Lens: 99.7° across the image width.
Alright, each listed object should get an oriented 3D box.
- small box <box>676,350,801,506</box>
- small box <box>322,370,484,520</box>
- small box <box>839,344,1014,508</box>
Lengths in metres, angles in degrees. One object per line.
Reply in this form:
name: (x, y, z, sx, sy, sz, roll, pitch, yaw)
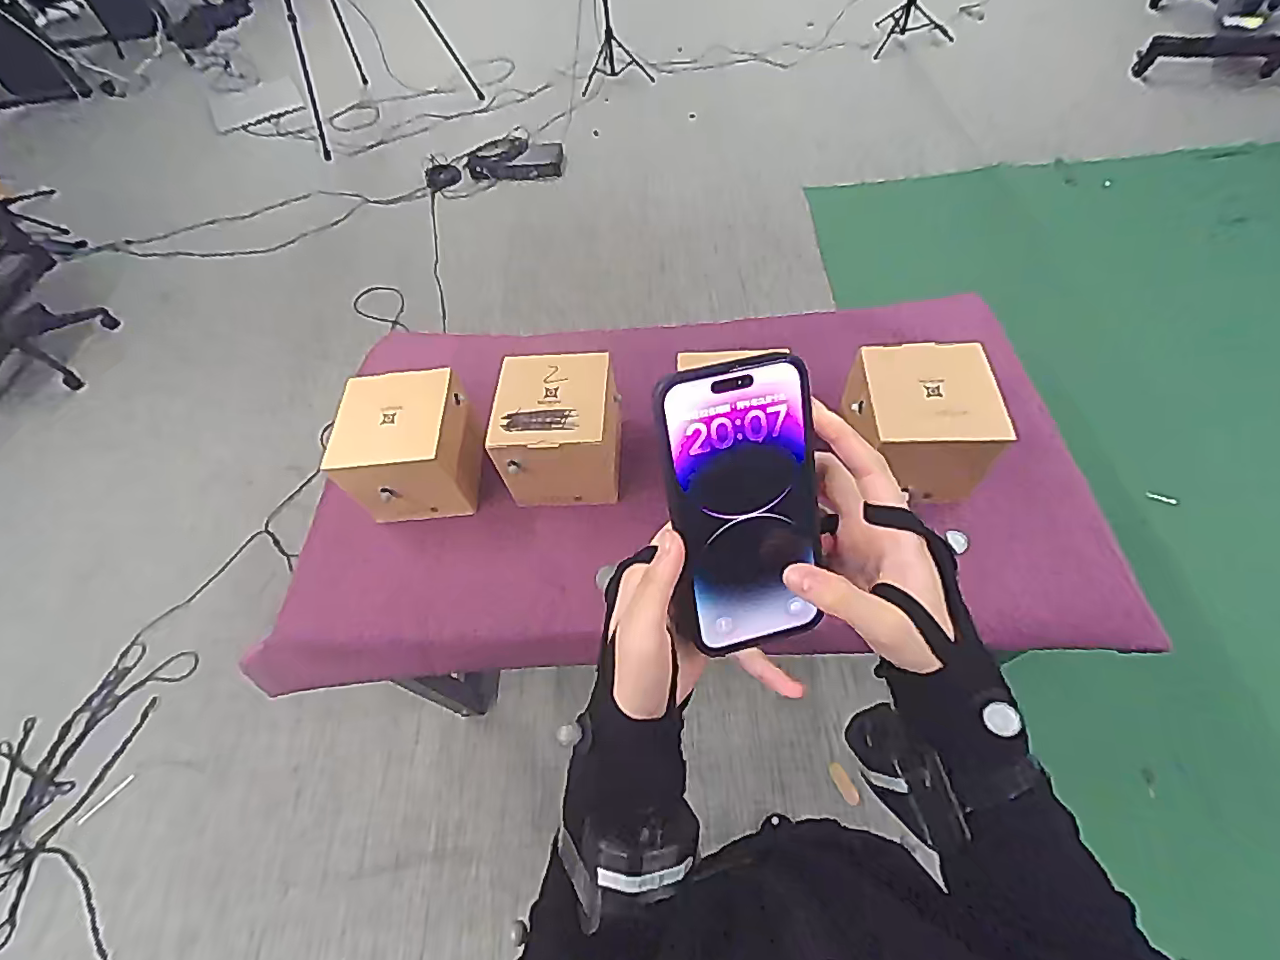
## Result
small box: (0.141, -0.072, 0.818, 0.168, 0.176, 0.179, -1, 57, 5)
small box: (-0.358, -0.047, 0.857, 0.168, 0.176, 0.179, -6, 56, 3)
small box: (0.400, -0.077, 0.794, 0.168, 0.176, 0.179, 0, 57, 7)
